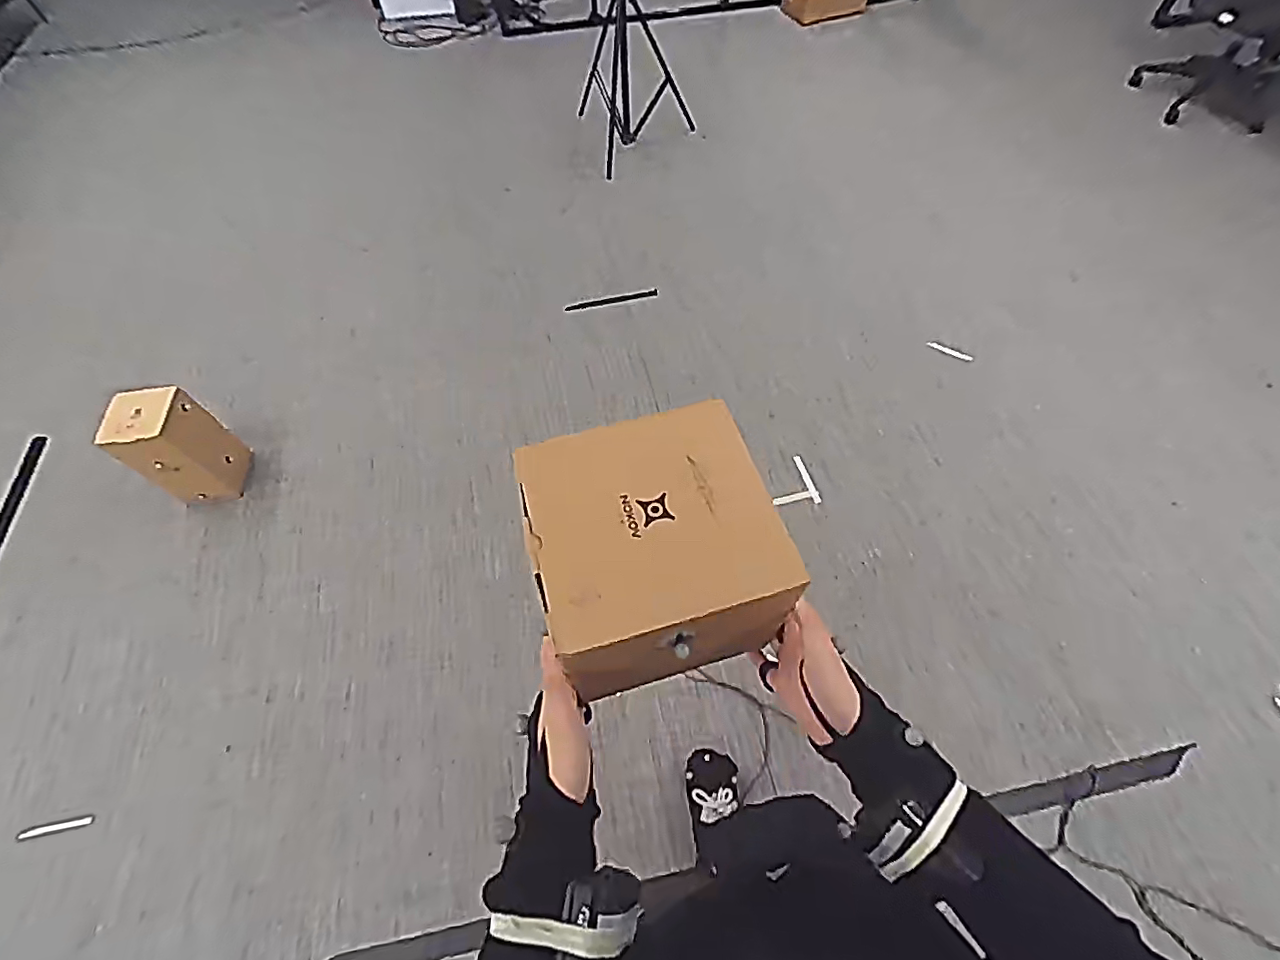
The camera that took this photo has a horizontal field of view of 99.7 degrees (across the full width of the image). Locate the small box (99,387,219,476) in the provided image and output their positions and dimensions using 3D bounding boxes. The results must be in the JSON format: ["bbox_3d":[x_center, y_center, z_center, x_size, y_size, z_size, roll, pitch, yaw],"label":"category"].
[{"bbox_3d":[-1.331,-0.133,1.513,0.168,0.176,0.179,-8,60,-3],"label":"small box"}]

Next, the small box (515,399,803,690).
[{"bbox_3d":[0.008,0.062,0.458,0.179,0.176,0.168,-14,60,-9],"label":"small box"}]
